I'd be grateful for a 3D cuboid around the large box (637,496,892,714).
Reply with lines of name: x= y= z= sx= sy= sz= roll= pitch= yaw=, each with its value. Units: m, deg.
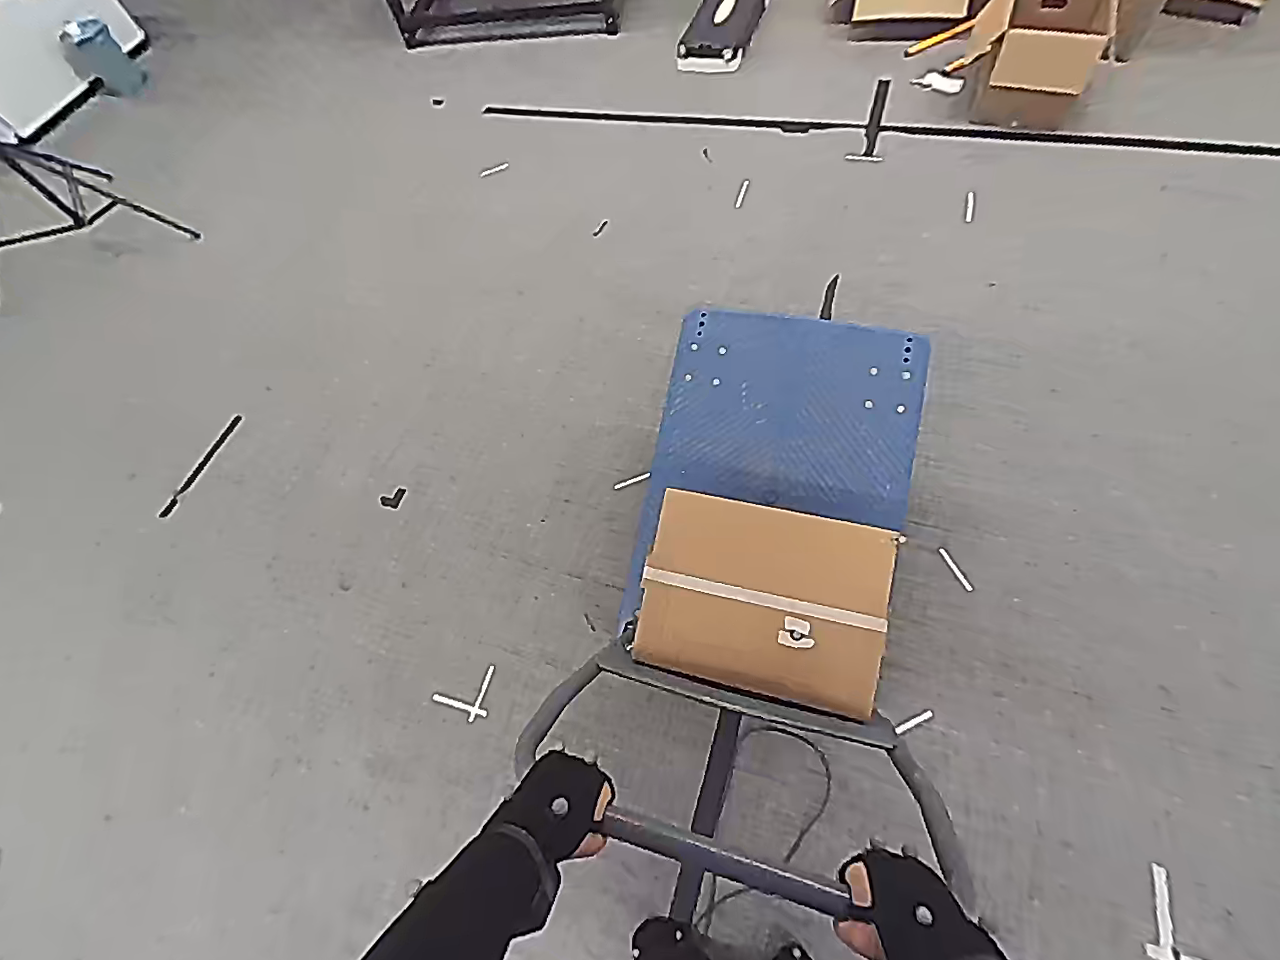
large box: x=0.236 y=0.232 z=1.088 sx=0.408 sy=0.320 sz=0.320 roll=10 pitch=83 yaw=12
